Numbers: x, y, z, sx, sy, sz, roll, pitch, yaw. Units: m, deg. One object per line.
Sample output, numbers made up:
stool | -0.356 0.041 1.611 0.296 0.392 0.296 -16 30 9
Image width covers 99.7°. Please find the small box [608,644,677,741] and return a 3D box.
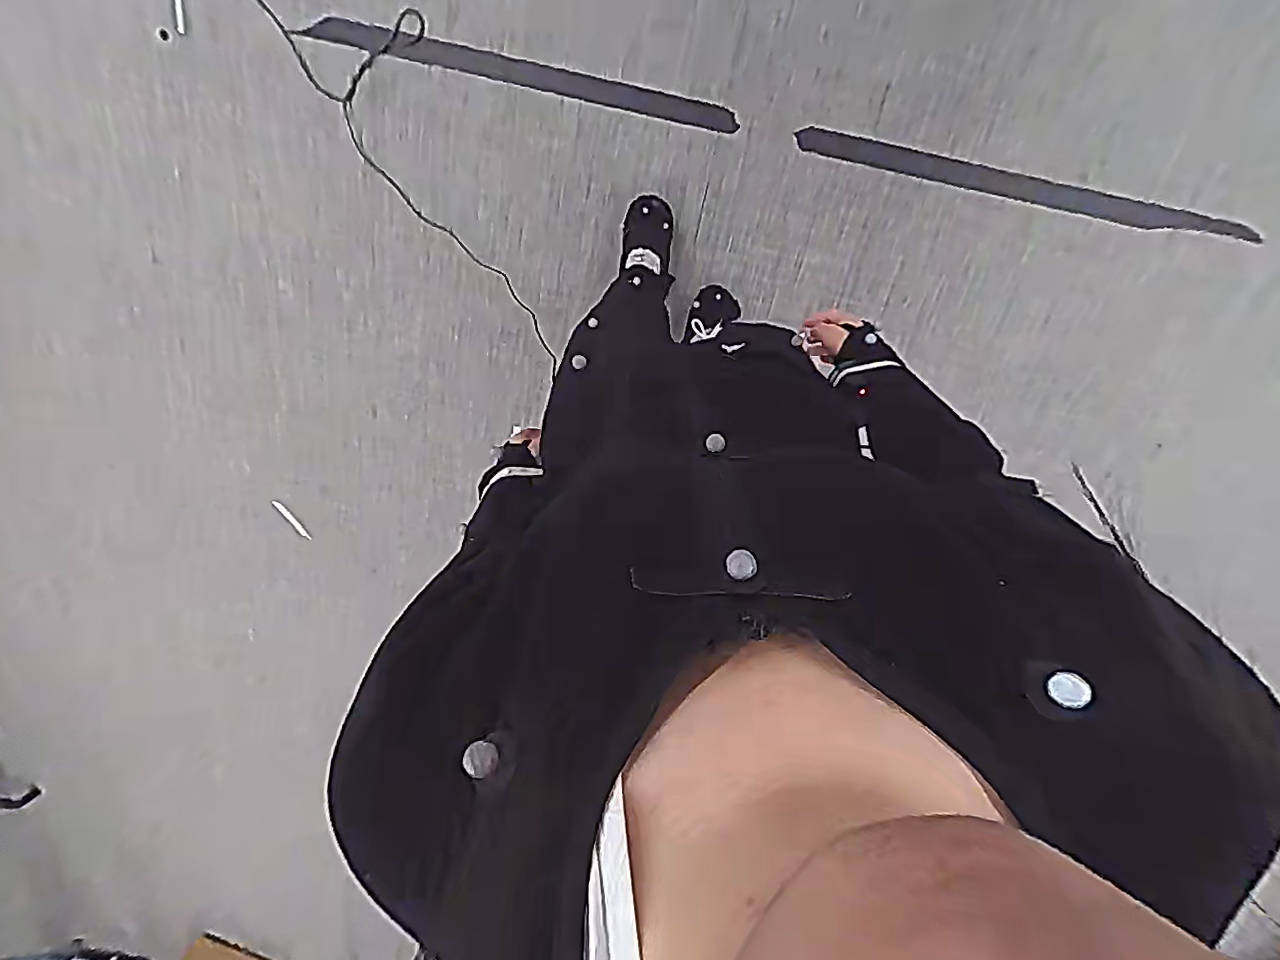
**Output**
small box | 0.011 0.592 1.518 0.168 0.176 0.179 8 113 3
